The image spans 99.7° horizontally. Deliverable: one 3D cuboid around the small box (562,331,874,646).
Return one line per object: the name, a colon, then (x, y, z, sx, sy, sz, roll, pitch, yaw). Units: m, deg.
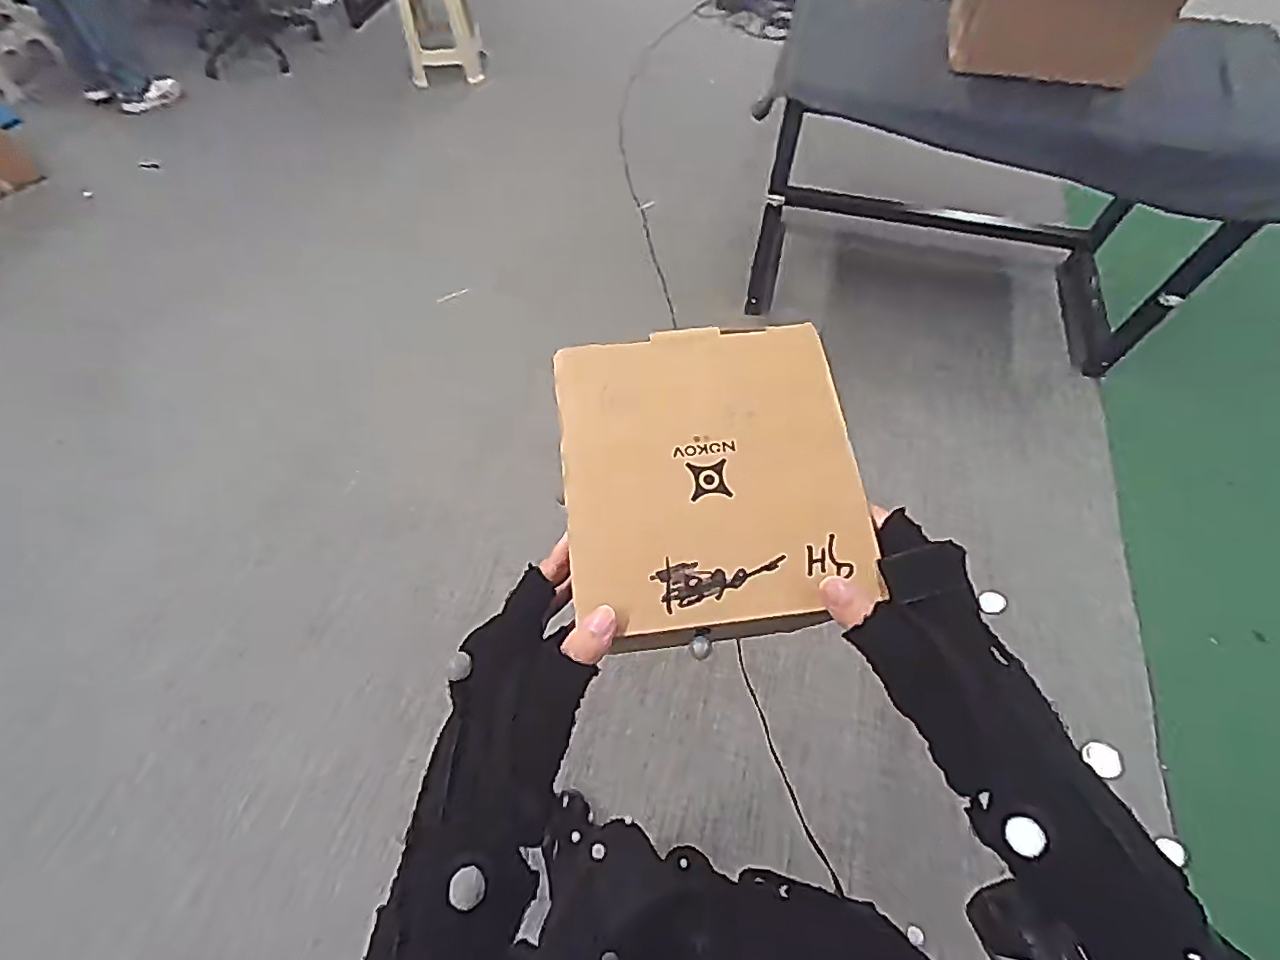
small box: (0.038, 0.019, 0.392, 0.168, 0.176, 0.179, -6, 71, -1)
